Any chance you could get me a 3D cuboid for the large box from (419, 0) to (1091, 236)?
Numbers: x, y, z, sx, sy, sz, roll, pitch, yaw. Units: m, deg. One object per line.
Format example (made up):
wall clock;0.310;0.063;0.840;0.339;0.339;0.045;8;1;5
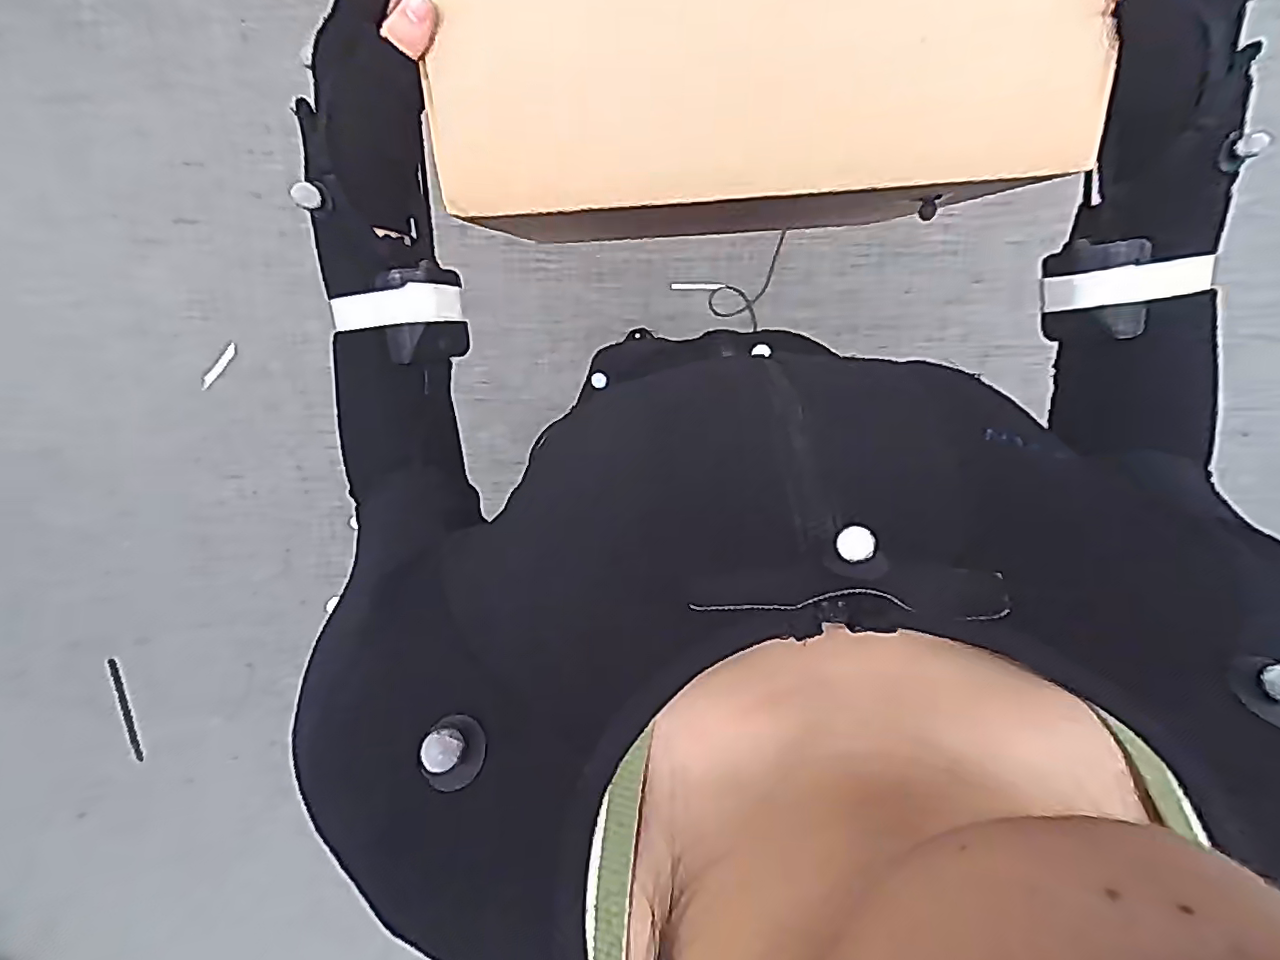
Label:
large box;0.067;-0.385;0.438;0.408;0.320;0.320;-3;110;2
